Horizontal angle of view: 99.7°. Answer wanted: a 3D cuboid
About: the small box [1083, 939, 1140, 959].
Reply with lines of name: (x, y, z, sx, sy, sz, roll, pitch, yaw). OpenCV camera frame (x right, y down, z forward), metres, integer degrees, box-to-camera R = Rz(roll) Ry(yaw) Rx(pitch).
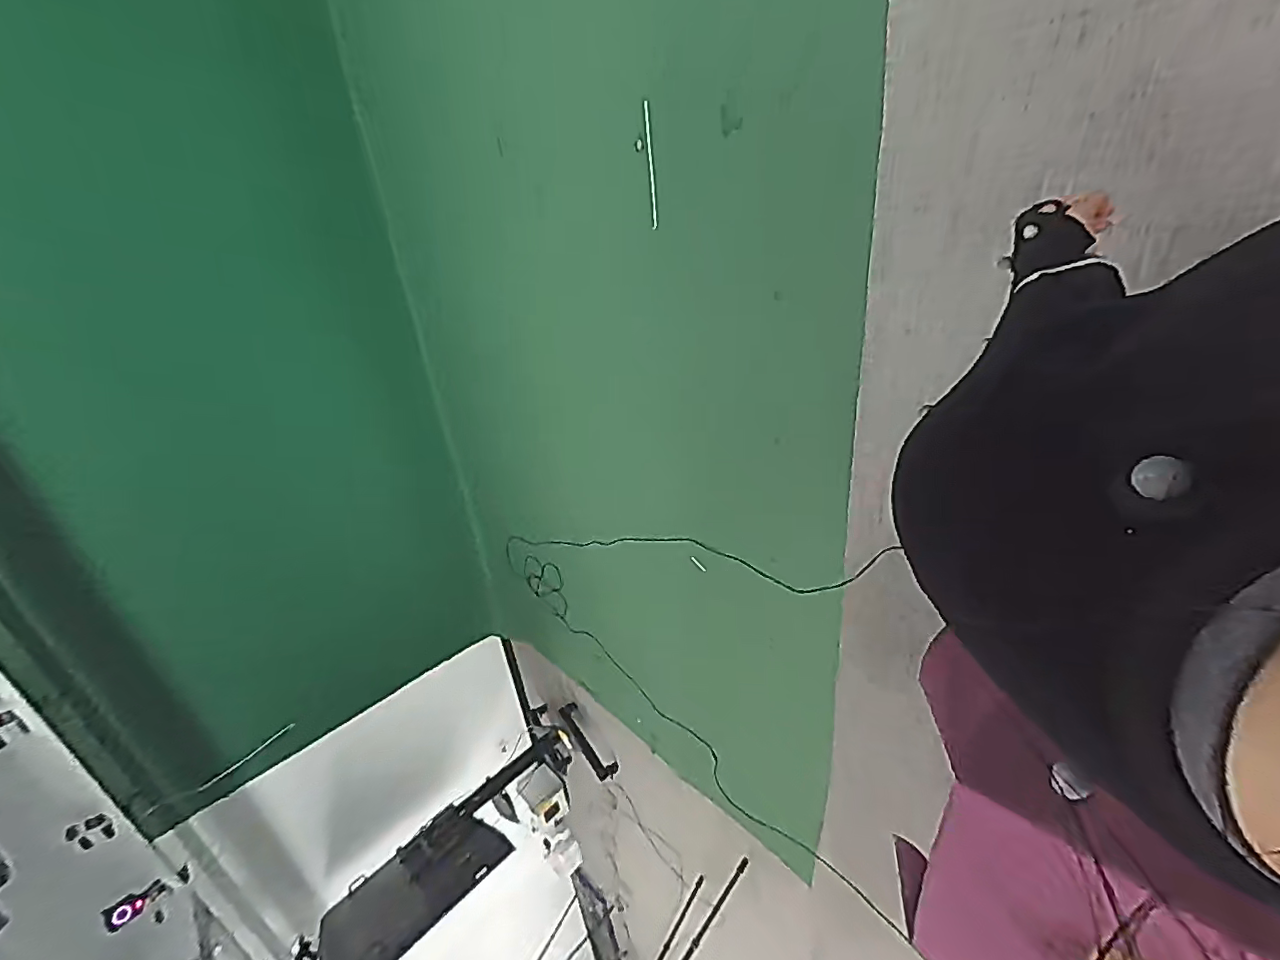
small box: (0.755, 0.859, 0.808, 0.179, 0.176, 0.168, 23, 129, 42)
